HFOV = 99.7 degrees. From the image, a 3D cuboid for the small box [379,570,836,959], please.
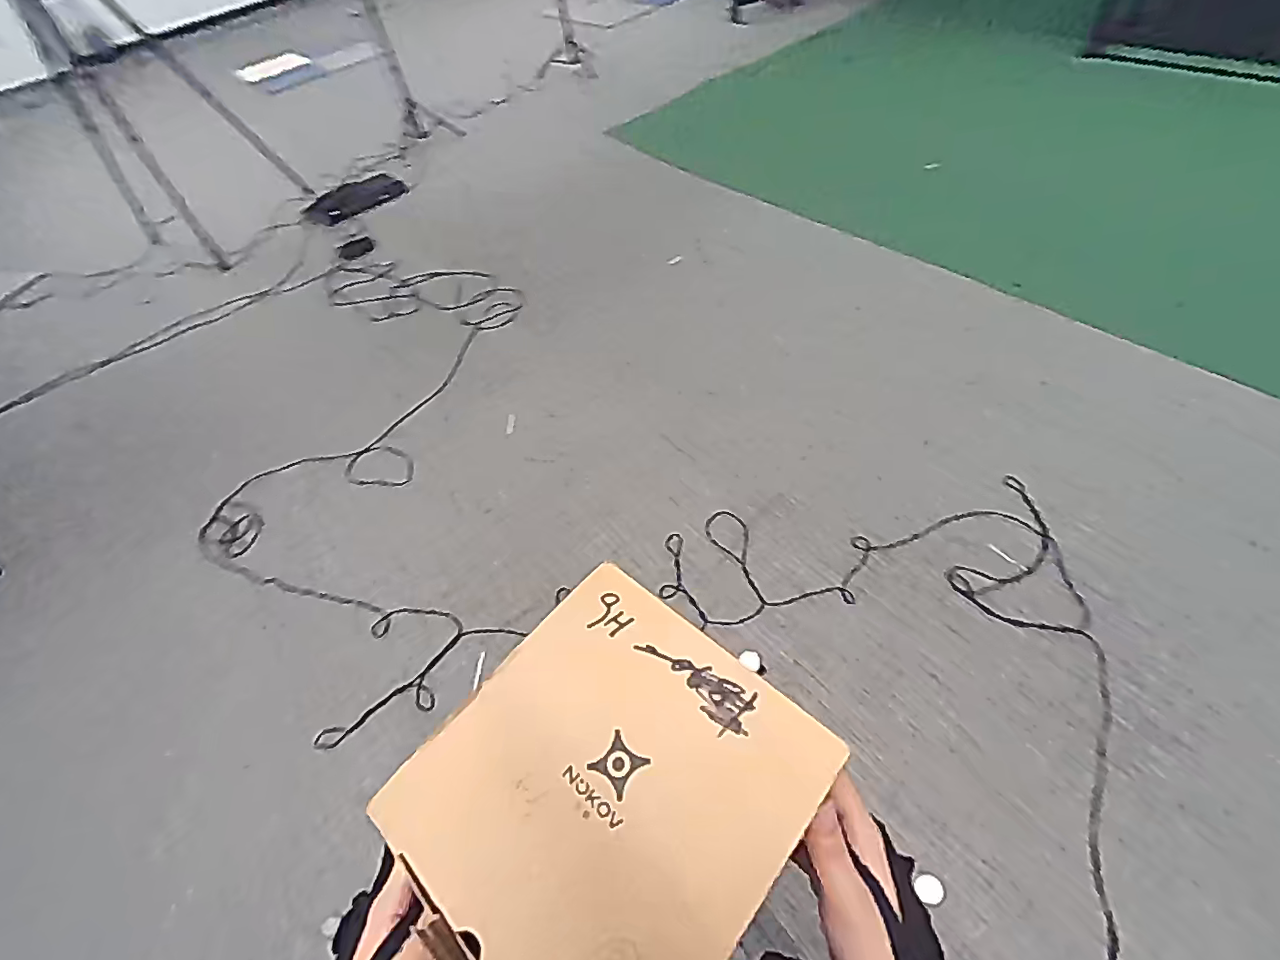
[{"bbox_3d":[-0.008,0.196,0.331,0.168,0.176,0.179,34,65,28],"label":"small box"}]
